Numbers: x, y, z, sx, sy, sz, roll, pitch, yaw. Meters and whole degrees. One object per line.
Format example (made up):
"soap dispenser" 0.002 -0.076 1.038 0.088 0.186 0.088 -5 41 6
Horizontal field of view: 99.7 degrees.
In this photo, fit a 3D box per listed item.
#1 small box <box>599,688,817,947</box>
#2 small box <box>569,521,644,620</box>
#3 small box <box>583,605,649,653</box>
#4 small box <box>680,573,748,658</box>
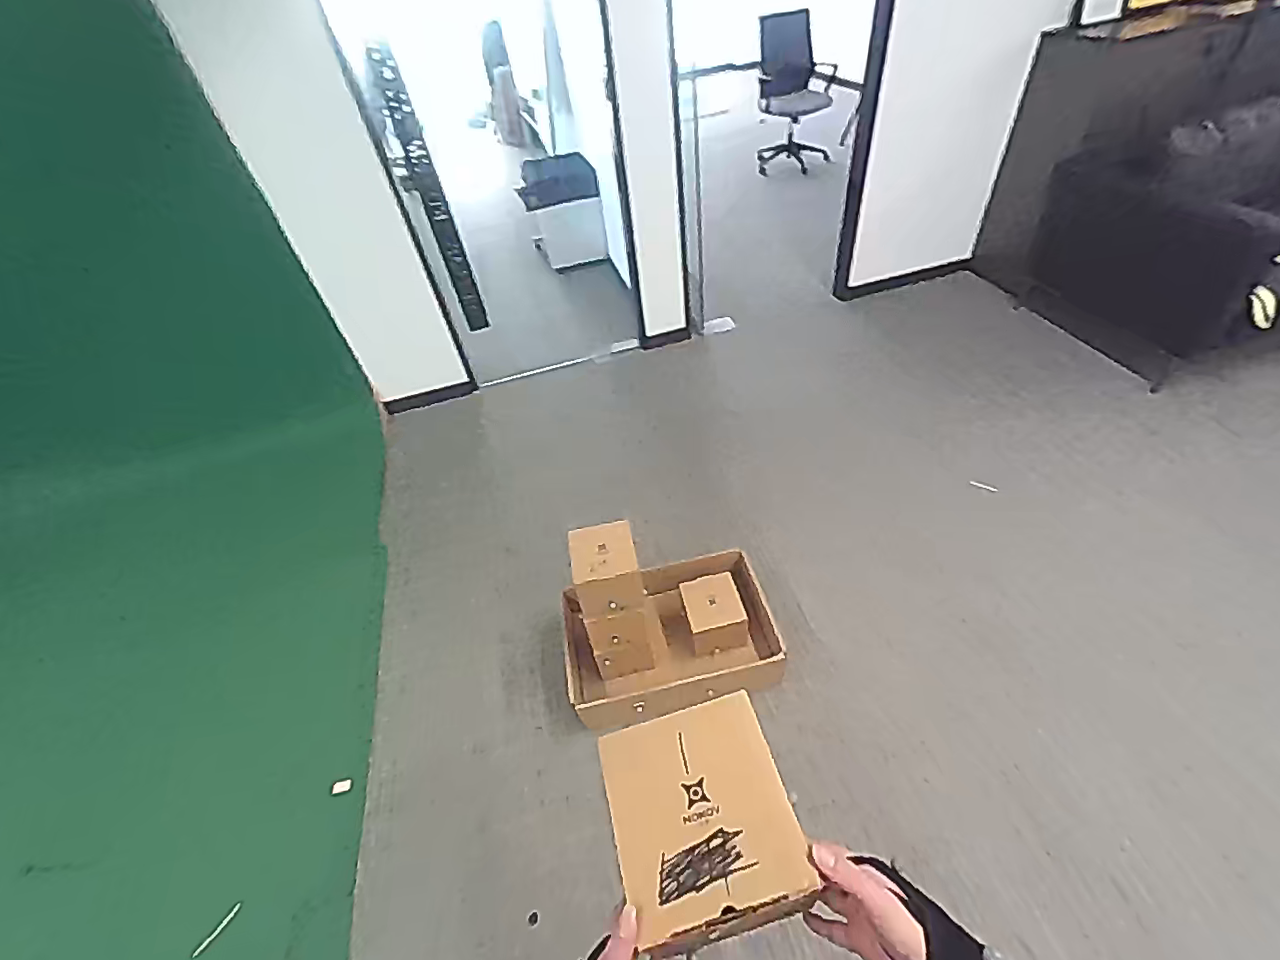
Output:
"small box" 0.068 0.353 0.562 0.168 0.176 0.179 -17 45 -2
"small box" -0.089 0.239 1.428 0.168 0.176 0.179 -11 44 -3
"small box" -0.073 0.361 1.538 0.168 0.176 0.179 -12 44 -3
"small box" 0.225 0.417 1.662 0.168 0.176 0.179 -14 45 -2
